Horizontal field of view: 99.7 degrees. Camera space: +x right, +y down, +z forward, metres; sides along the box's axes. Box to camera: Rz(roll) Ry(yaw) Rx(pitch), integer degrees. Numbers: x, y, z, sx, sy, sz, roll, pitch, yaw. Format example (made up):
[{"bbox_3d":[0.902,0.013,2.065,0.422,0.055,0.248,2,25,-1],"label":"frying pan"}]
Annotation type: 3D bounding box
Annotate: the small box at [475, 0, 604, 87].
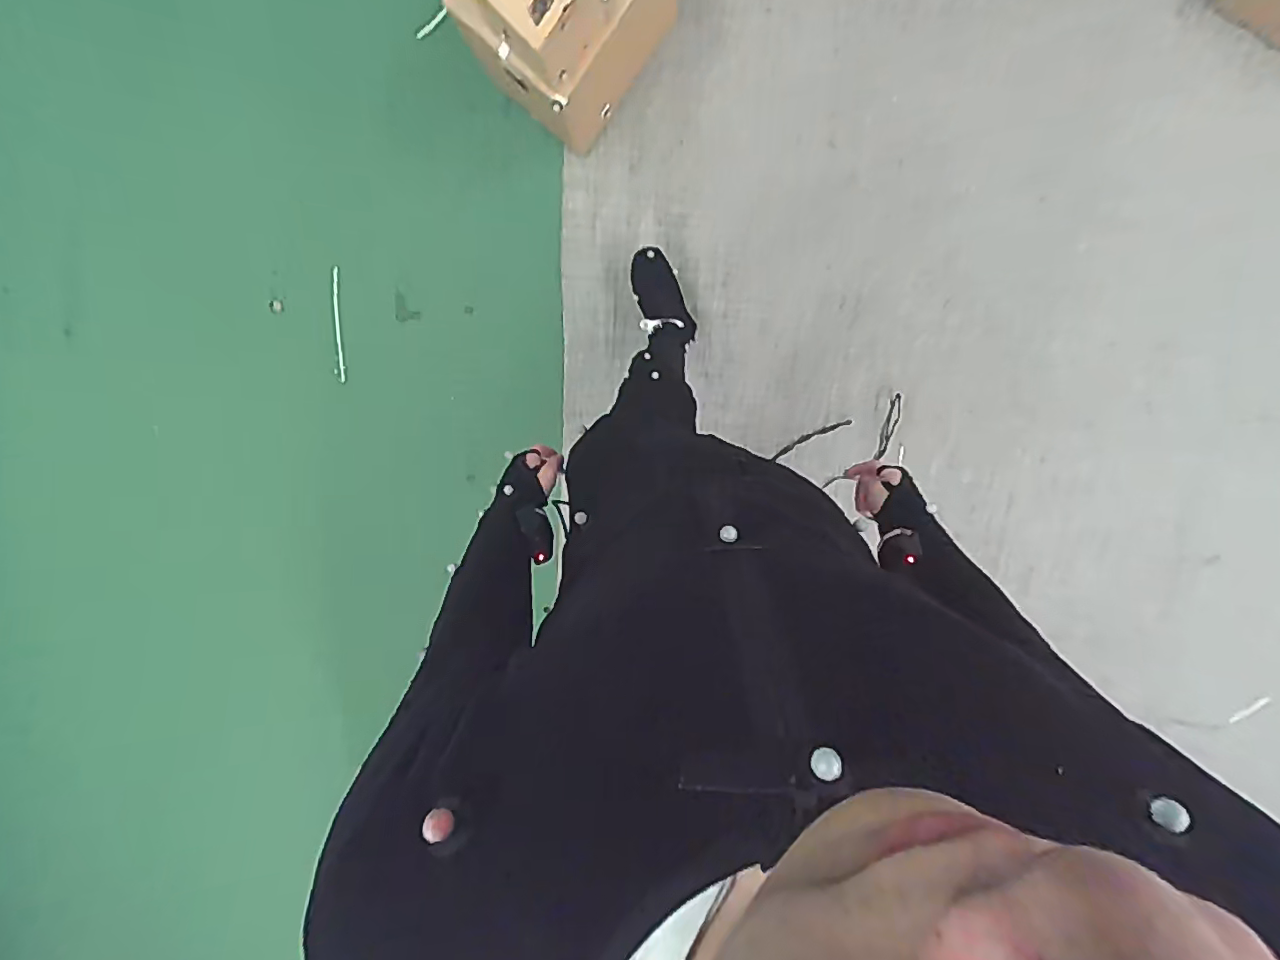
[{"bbox_3d":[-0.184,-0.885,1.010,0.179,0.176,0.168,42,100,-7],"label":"small box"}]
